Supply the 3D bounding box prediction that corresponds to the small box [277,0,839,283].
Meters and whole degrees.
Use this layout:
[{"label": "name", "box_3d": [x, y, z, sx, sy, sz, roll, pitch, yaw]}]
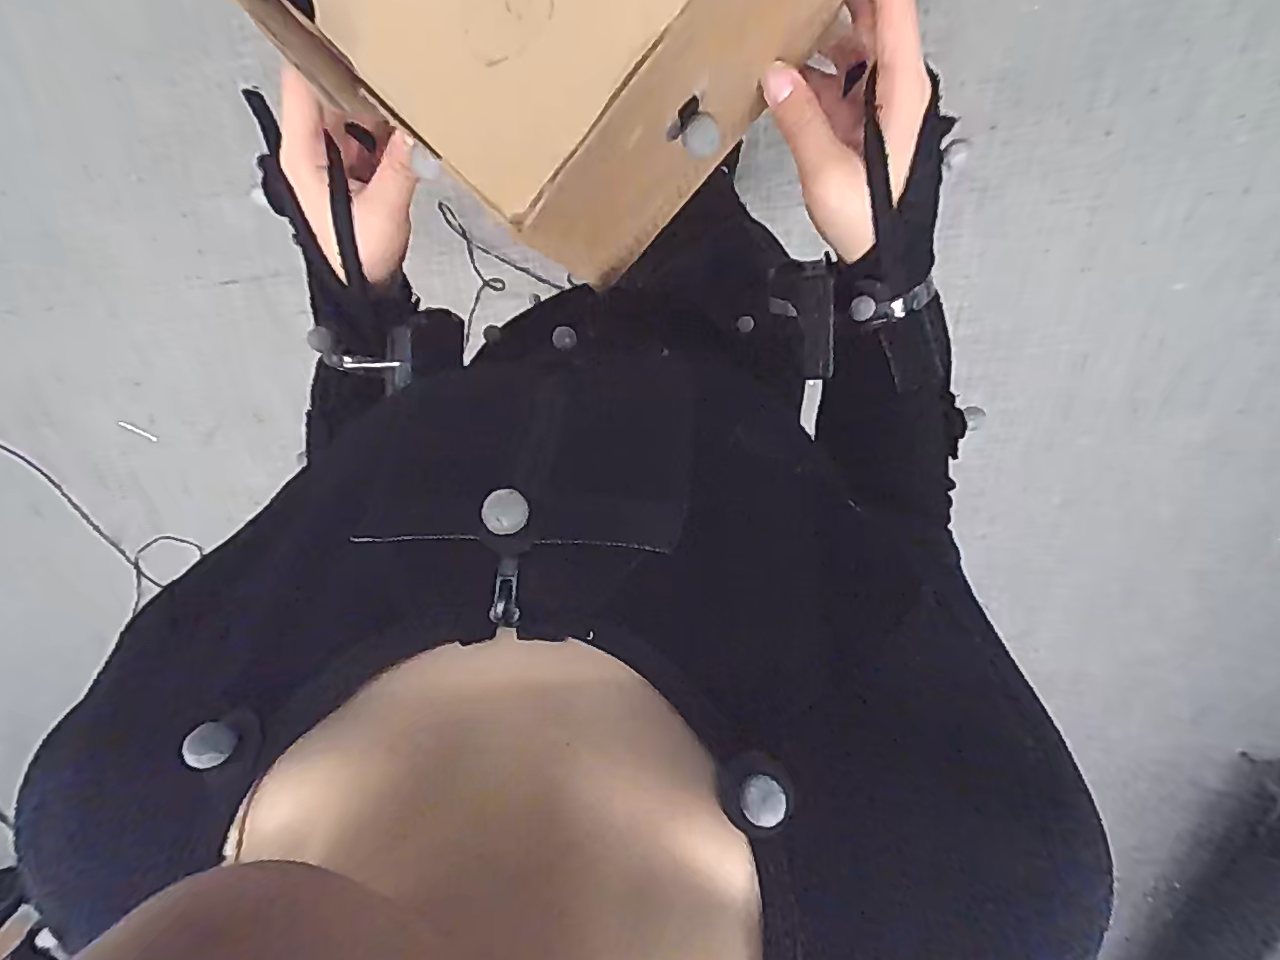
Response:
[{"label": "small box", "box_3d": [-0.023, -0.207, 0.223, 0.168, 0.176, 0.179, 43, 103, -5]}]
